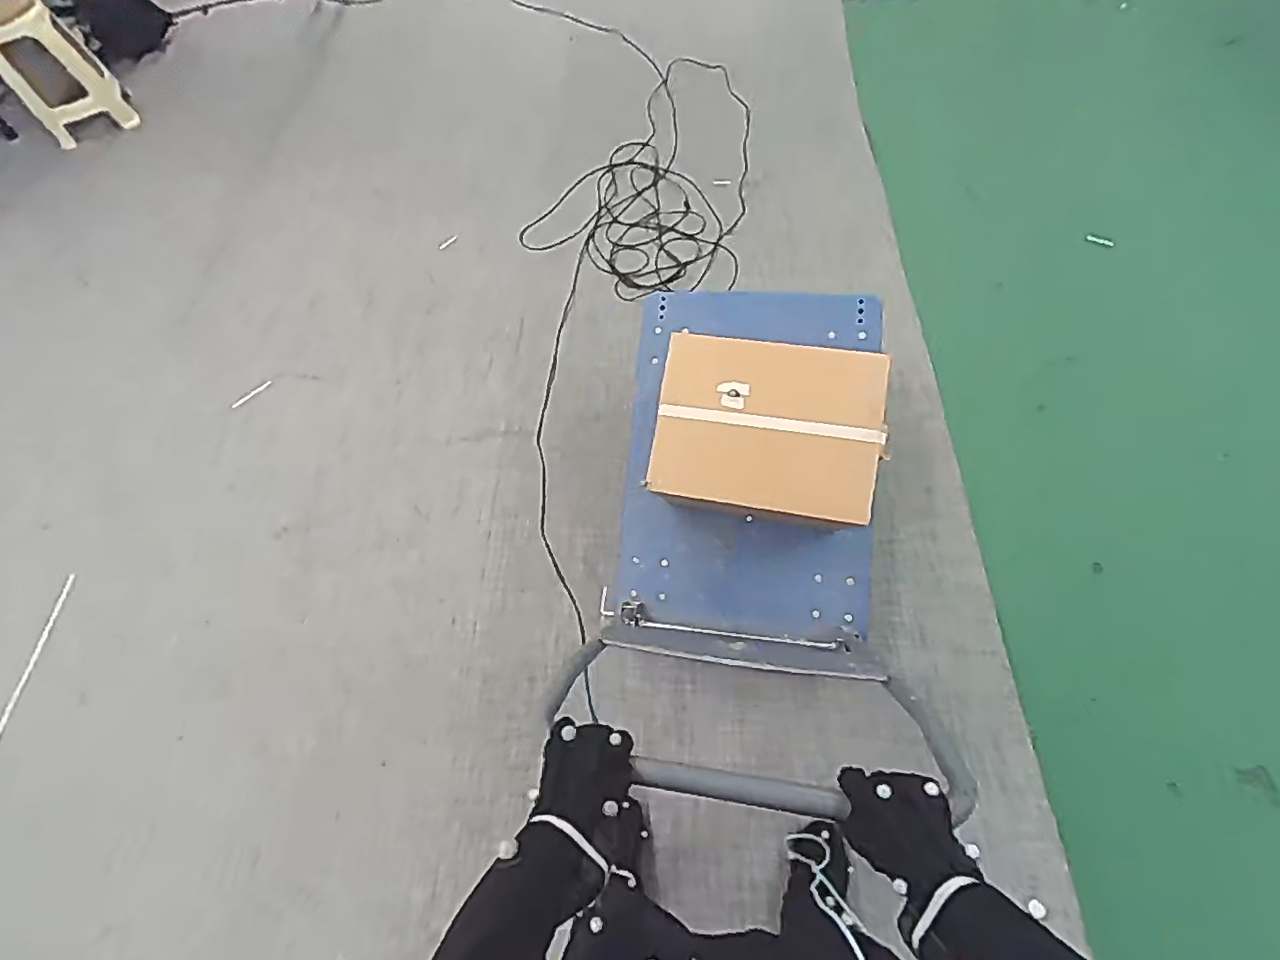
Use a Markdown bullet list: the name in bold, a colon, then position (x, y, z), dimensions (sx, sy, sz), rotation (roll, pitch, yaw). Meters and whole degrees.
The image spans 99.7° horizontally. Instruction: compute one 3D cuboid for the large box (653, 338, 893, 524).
- **large box**: position (0.270, -0.085, 1.134), dimensions (0.408, 0.320, 0.320), rotation (8, 85, 13)
